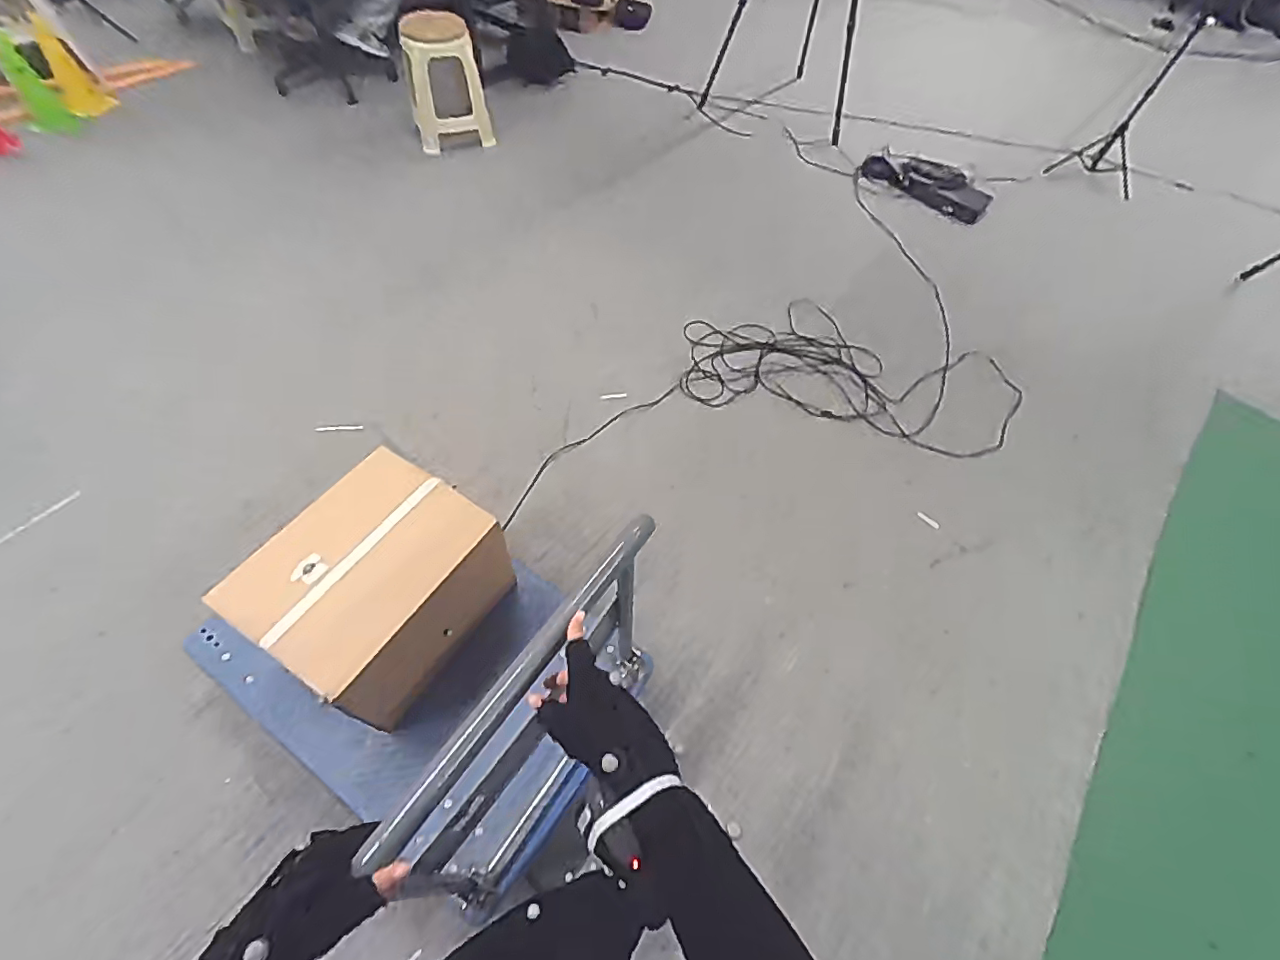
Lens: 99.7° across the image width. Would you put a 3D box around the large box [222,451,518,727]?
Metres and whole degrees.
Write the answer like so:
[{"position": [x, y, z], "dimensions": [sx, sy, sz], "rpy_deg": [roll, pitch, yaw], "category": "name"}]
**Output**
[{"position": [-0.504, 0.226, 1.118], "dimensions": [0.320, 0.320, 0.408], "rpy_deg": [28, 60, 13], "category": "large box"}]
